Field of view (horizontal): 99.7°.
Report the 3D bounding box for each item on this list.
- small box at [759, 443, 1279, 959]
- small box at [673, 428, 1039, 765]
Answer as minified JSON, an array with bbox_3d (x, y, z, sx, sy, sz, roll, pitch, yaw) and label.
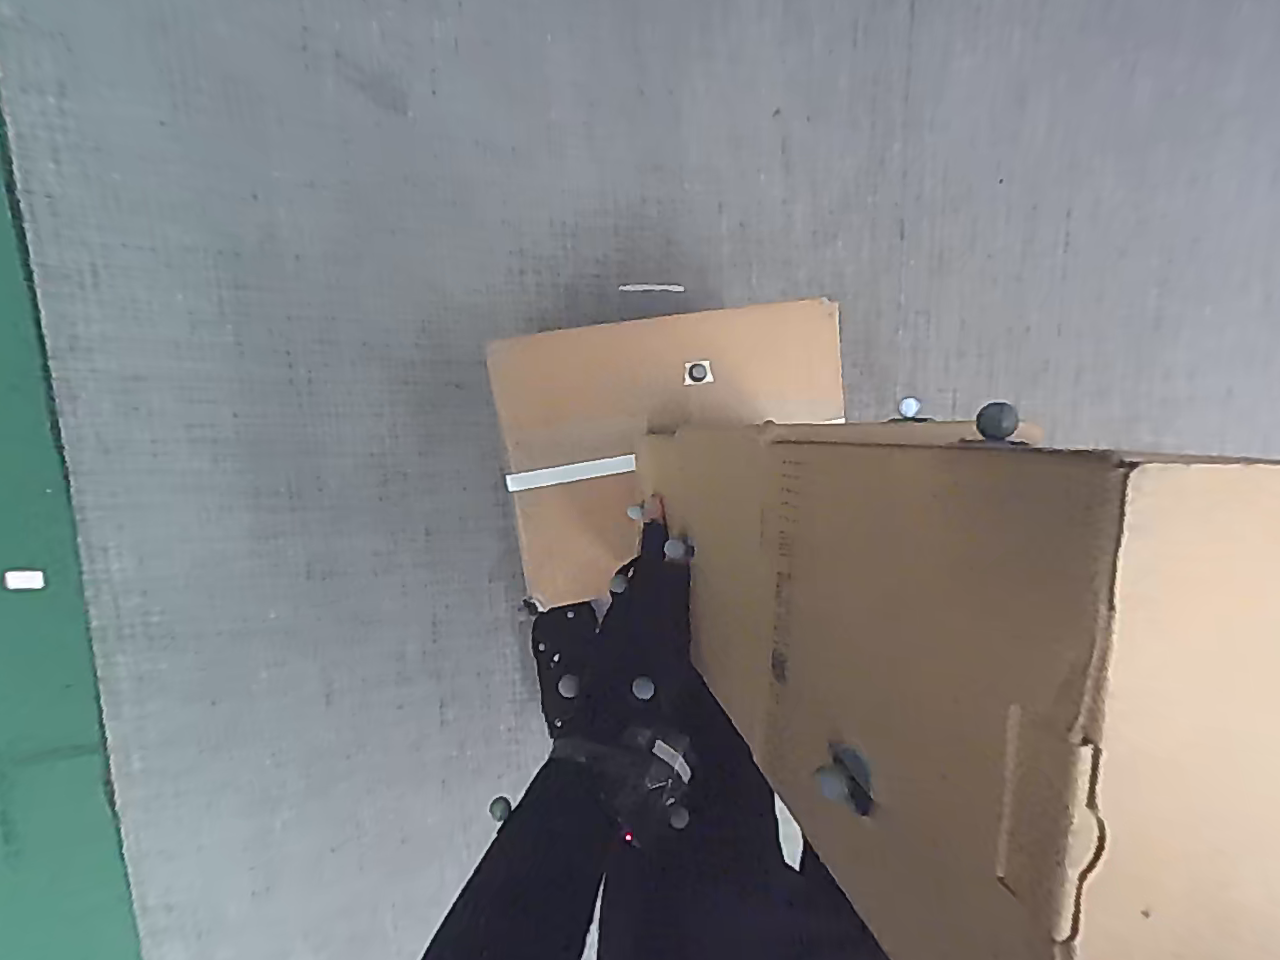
[{"bbox_3d":[0.158,0.072,0.208,0.179,0.176,0.168,0,96,-12],"label":"small box"},{"bbox_3d":[0.122,0.054,0.366,0.168,0.176,0.179,-2,96,-11],"label":"small box"}]
